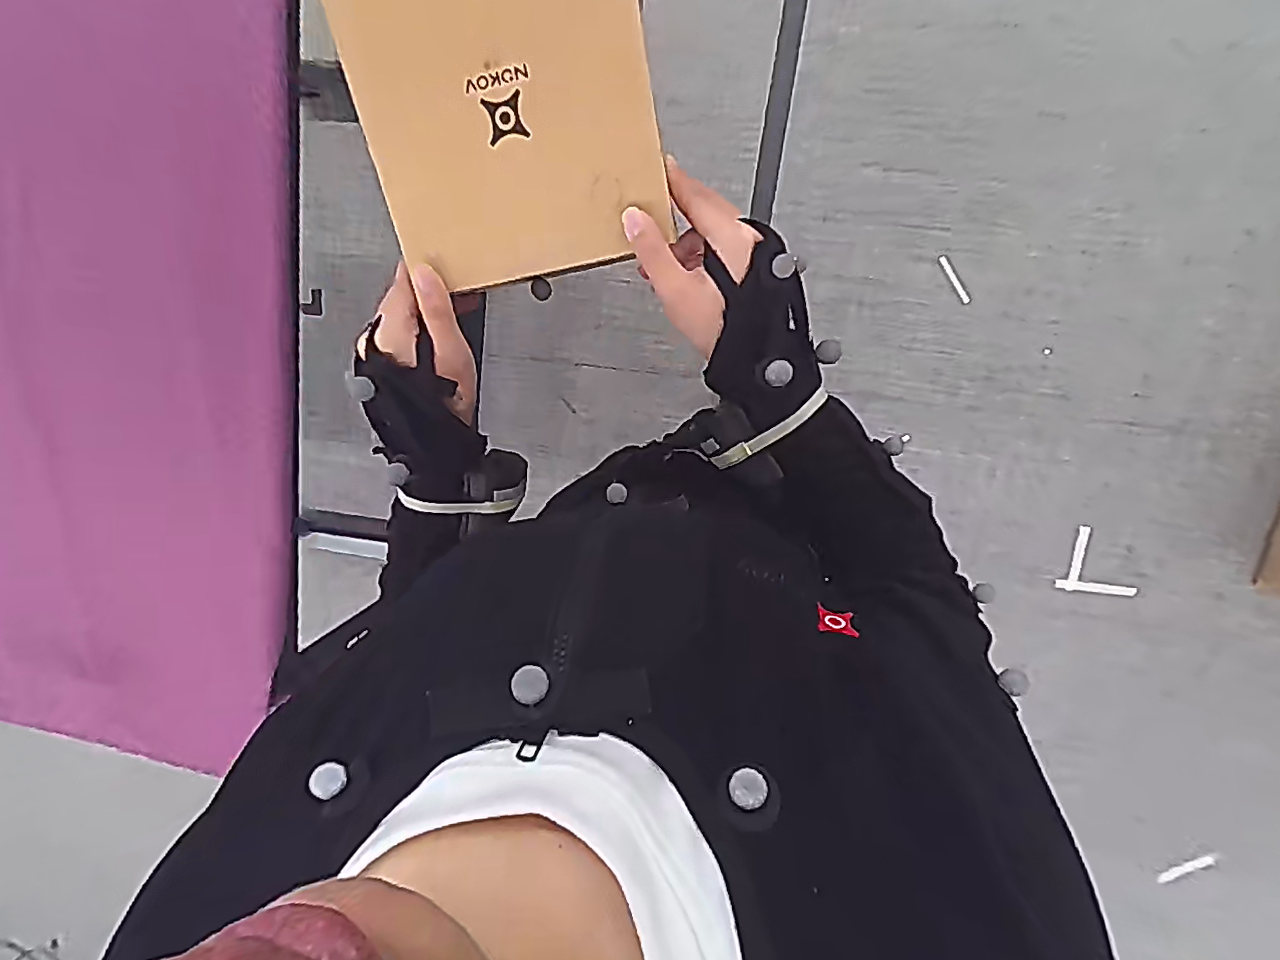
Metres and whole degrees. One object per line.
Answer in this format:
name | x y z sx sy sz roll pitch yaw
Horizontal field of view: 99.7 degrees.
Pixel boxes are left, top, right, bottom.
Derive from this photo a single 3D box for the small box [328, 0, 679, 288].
small box | -0.067 -0.239 0.369 0.168 0.176 0.179 -9 109 8
